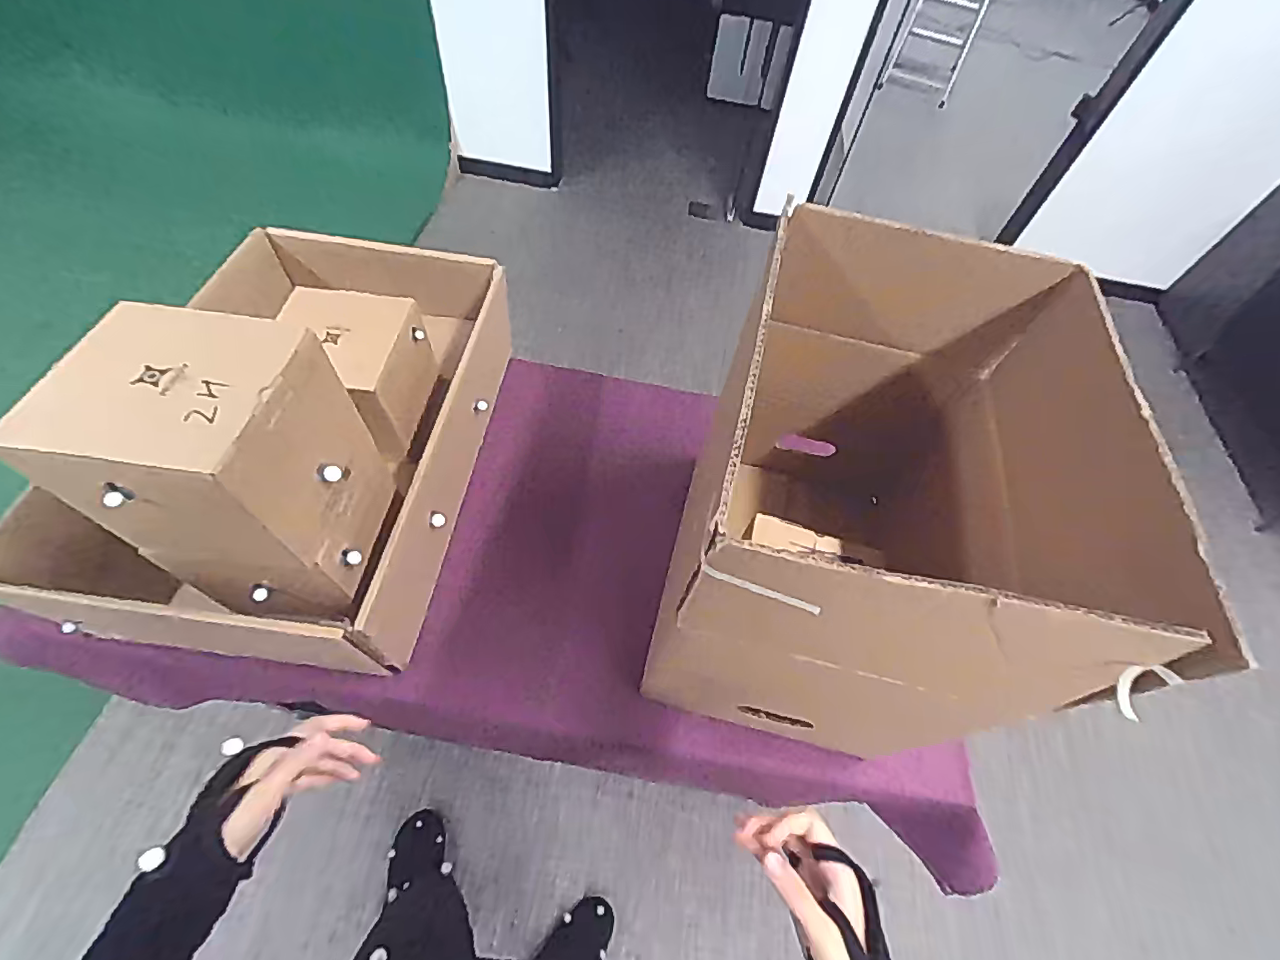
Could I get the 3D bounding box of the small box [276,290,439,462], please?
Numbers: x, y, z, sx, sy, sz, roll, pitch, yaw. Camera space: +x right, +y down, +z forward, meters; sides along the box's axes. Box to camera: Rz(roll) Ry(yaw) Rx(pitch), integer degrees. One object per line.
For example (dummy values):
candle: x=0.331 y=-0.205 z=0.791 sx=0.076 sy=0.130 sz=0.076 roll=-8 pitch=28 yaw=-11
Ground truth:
small box: x=-0.408 y=-0.144 z=0.780 sx=0.168 sy=0.176 sz=0.179 roll=5 pitch=57 yaw=-1

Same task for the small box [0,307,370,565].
small box: x=-0.393 y=-0.034 z=0.510 sx=0.179 sy=0.176 sz=0.168 roll=8 pitch=57 yaw=0
